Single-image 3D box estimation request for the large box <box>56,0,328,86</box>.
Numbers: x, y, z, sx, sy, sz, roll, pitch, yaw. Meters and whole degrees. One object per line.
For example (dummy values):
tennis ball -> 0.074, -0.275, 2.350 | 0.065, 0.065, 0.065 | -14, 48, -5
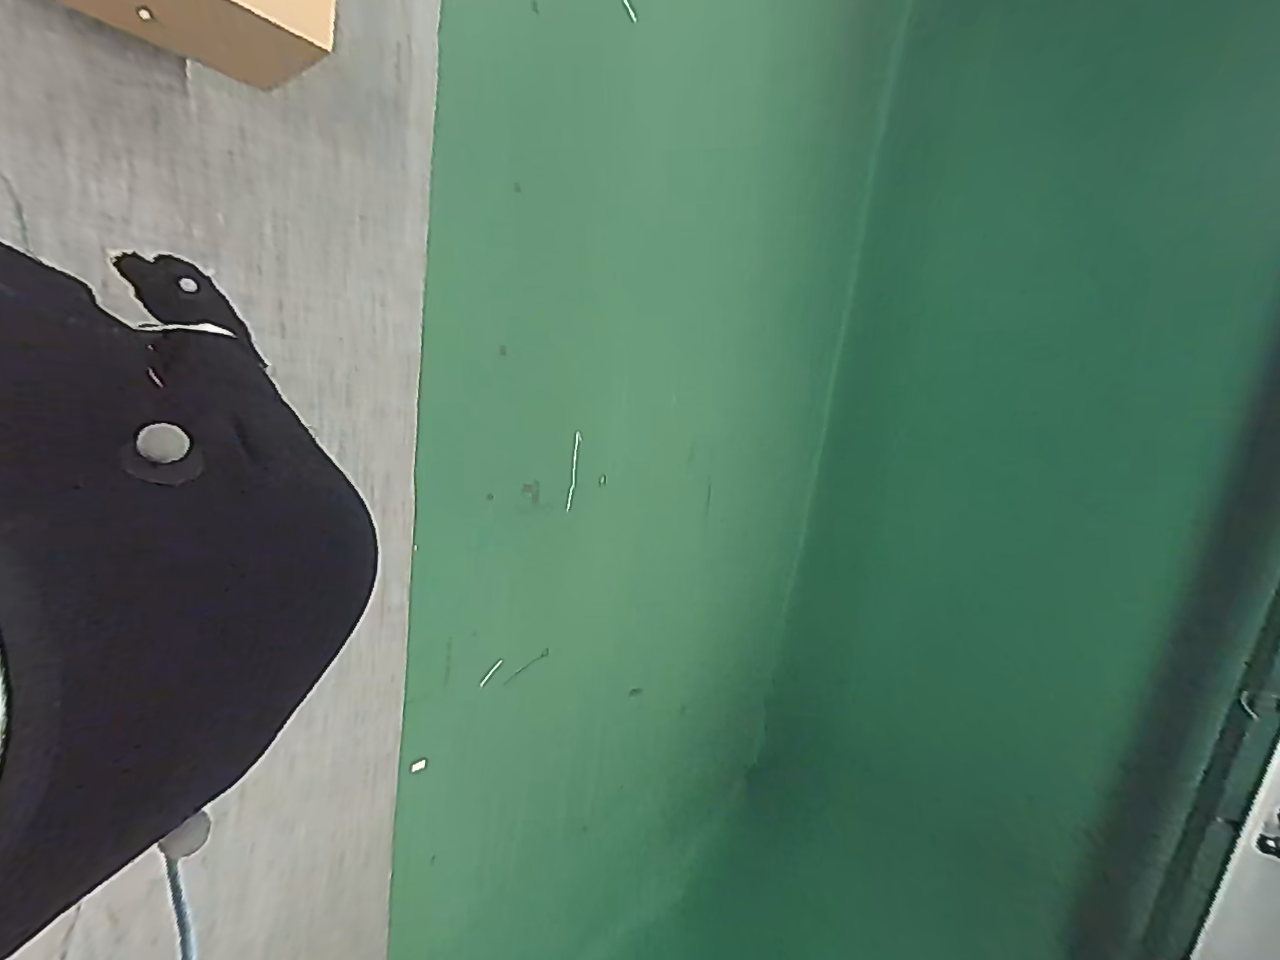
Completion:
large box -> -0.721, -0.859, 0.782 | 0.408, 0.320, 0.320 | -4, 106, -50
